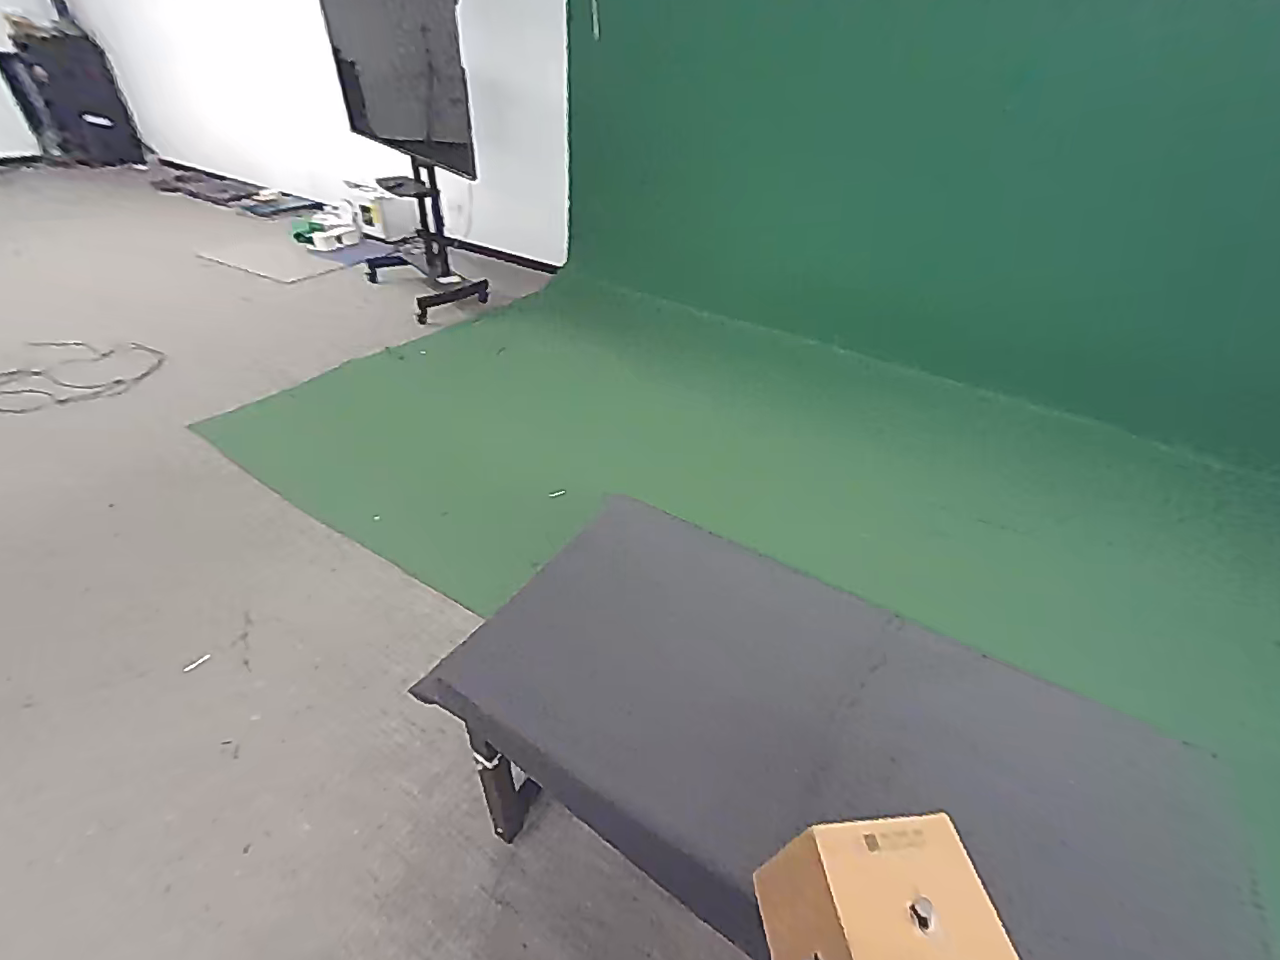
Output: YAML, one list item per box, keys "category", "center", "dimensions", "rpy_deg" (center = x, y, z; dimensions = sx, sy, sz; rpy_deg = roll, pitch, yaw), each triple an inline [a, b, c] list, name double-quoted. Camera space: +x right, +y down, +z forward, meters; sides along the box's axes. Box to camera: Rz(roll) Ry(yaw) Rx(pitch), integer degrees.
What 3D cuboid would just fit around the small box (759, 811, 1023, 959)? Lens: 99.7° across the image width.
- category: "small box"
  center: [0.242, 0.460, 0.556]
  dimensions: [0.168, 0.179, 0.176]
  rpy_deg: [1, 42, -14]
